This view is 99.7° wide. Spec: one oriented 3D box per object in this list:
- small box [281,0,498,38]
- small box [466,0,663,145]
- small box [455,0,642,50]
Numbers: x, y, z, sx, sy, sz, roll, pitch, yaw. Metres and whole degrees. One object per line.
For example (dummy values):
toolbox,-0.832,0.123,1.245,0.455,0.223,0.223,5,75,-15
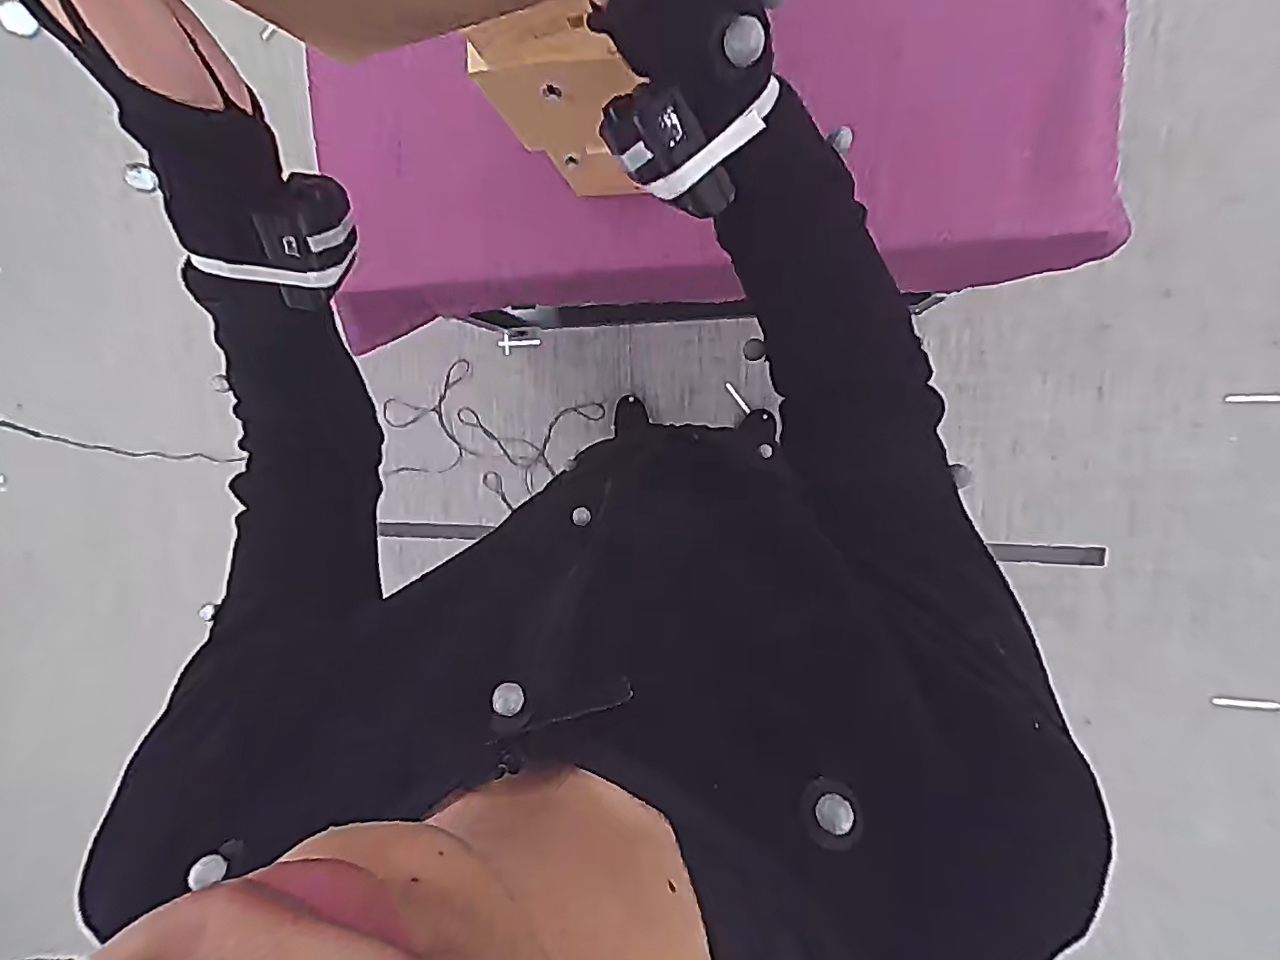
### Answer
small box,-0.134,-0.331,0.227,0.179,0.176,0.168,-5,107,13
small box,-0.074,-0.499,0.602,0.179,0.176,0.168,2,97,10
small box,-0.097,-0.497,0.440,0.168,0.176,0.179,-5,95,11
